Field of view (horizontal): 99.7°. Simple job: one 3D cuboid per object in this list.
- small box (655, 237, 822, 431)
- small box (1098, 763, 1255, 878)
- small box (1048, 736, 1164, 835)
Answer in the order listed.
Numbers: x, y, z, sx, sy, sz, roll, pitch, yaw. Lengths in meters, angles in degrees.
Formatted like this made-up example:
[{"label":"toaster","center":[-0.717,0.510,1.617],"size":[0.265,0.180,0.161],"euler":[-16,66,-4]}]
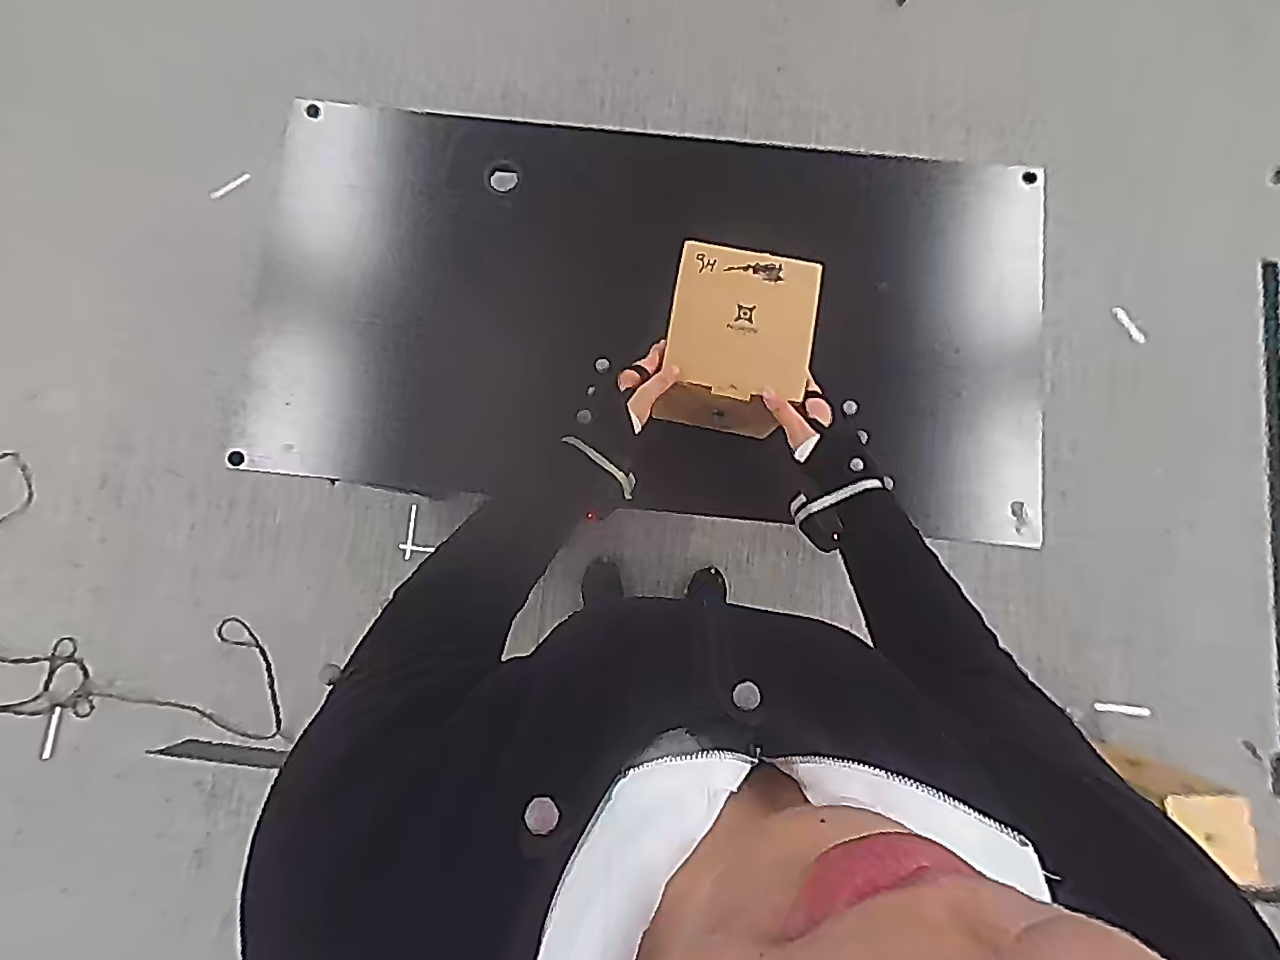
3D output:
[{"label":"small box","center":[0.114,-0.172,0.693],"size":[0.168,0.176,0.179],"euler":[11,82,0]},{"label":"small box","center":[1.177,0.745,1.199],"size":[0.179,0.176,0.168],"euler":[-1,82,1]},{"label":"small box","center":[1.166,0.763,1.360],"size":[0.168,0.176,0.179],"euler":[3,84,1]}]
